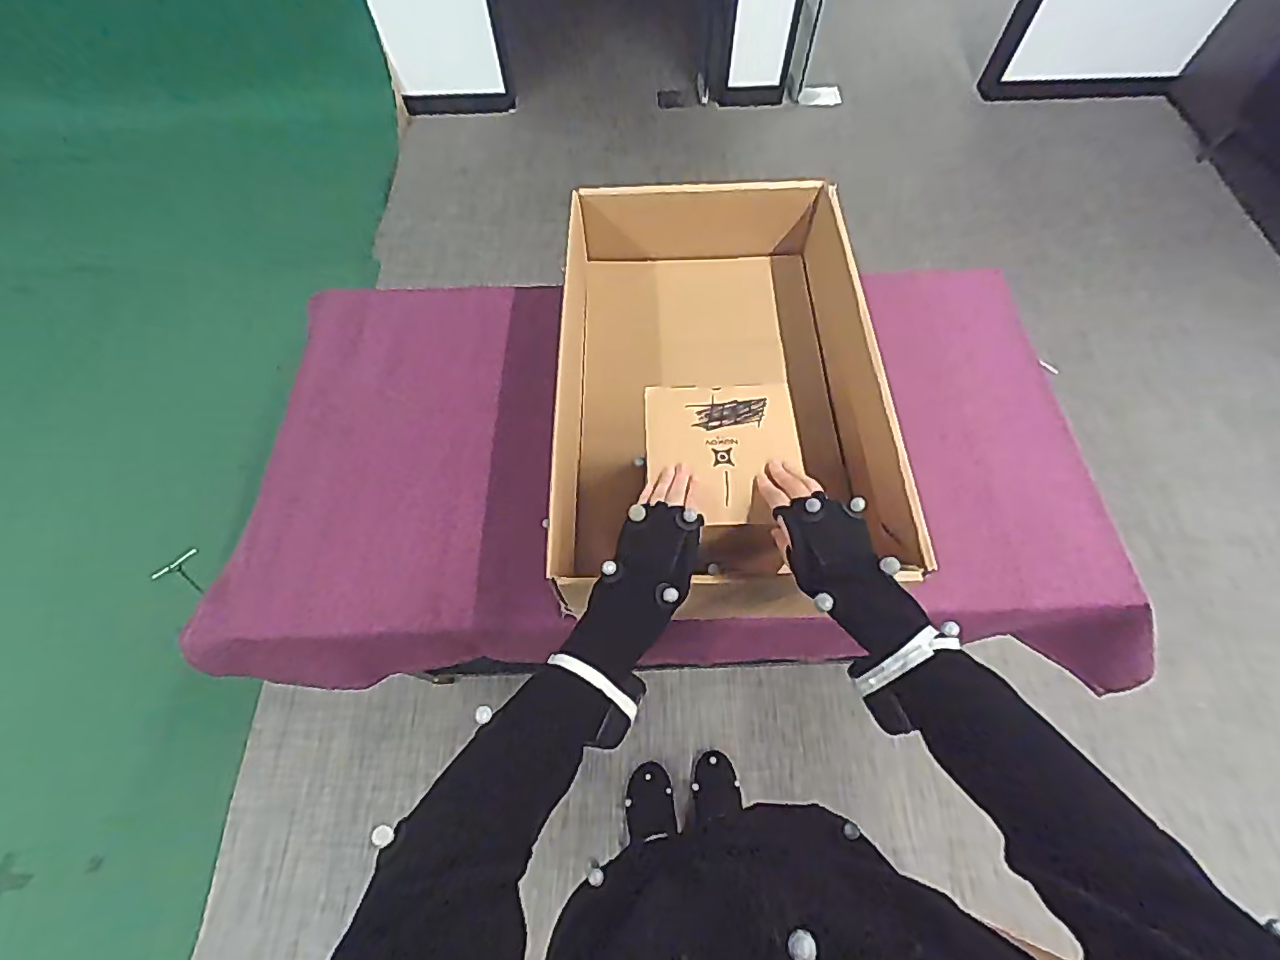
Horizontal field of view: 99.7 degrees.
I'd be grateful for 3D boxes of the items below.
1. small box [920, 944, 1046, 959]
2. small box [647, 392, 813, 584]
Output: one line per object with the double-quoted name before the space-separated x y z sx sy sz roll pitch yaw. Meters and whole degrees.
"small box" 0.523 0.781 0.759 0.168 0.176 0.179 -1 62 1
"small box" 0.092 0.015 0.649 0.168 0.176 0.179 -2 63 1
